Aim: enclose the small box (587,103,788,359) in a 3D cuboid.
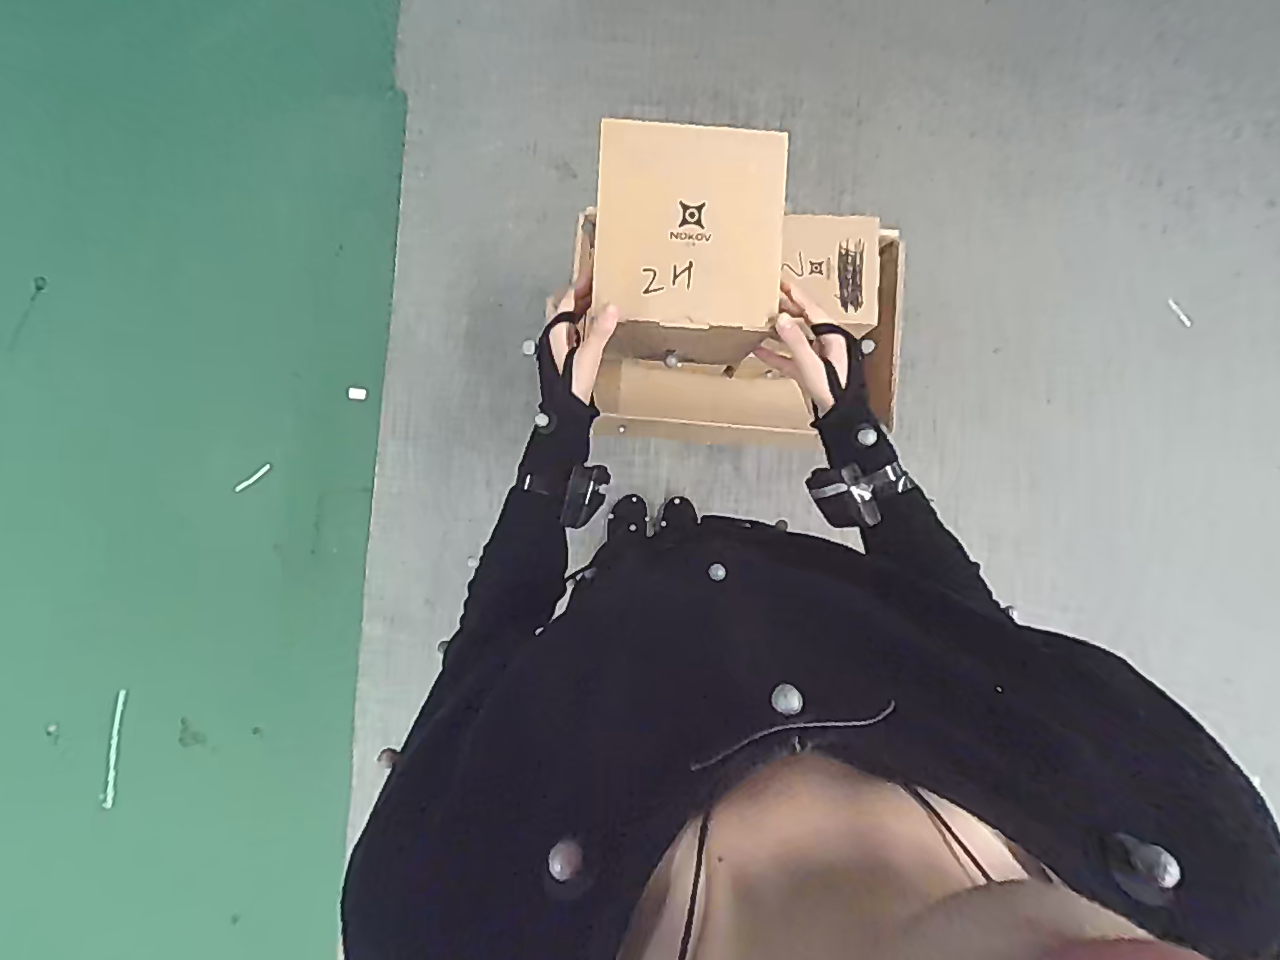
[{"bbox_3d":[0.038,-0.231,0.543,0.168,0.176,0.179,4,91,-1],"label":"small box"}]
